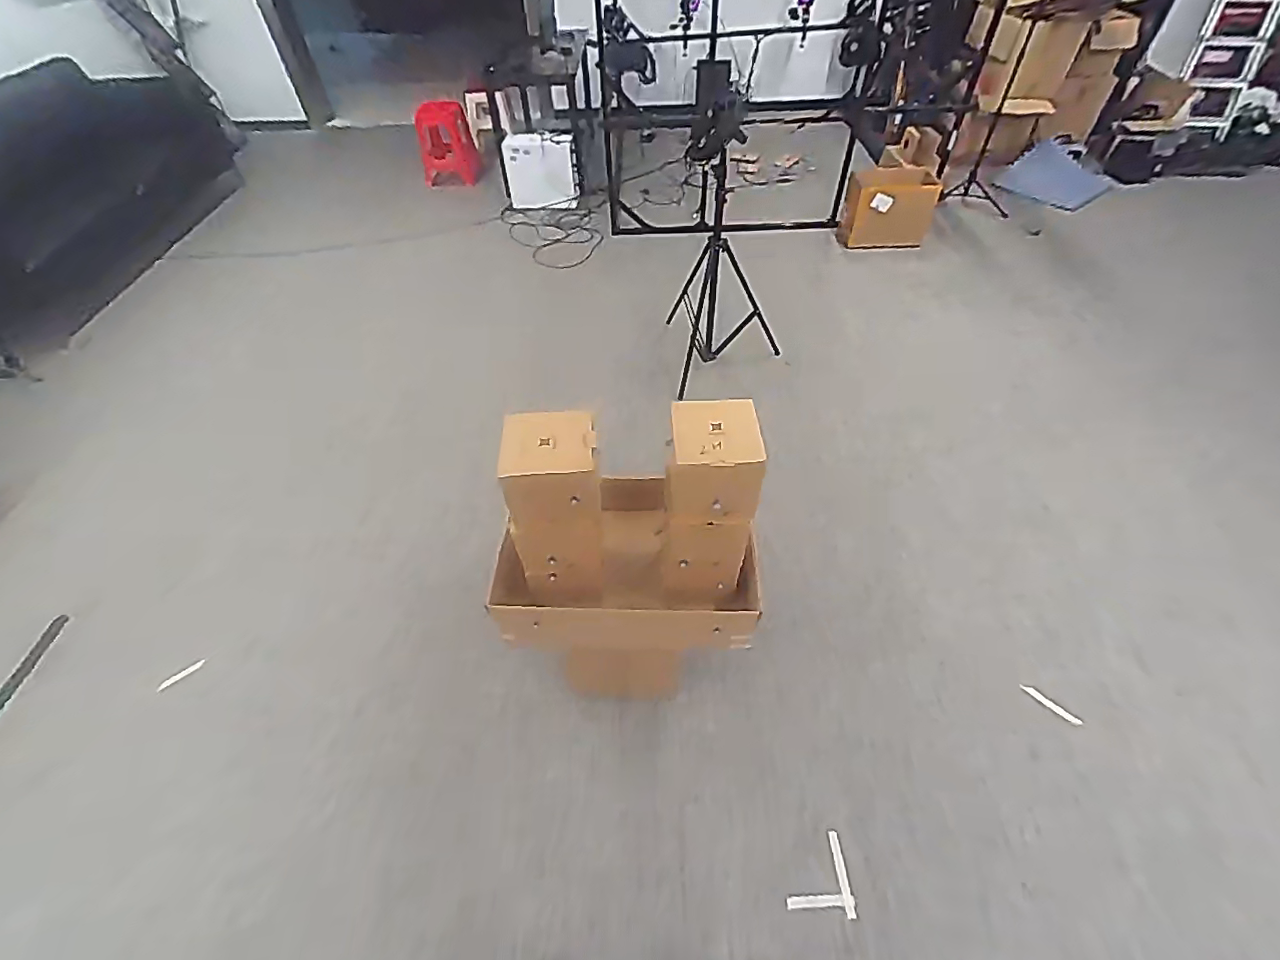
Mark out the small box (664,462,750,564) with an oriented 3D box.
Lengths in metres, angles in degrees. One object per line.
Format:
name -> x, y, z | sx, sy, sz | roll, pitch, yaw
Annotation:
small box -> 0.140, 0.076, 1.191 | 0.168, 0.176, 0.179 | -2, 50, -1

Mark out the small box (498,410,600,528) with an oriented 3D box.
small box -> -0.170, -0.020, 1.071 | 0.179, 0.176, 0.168 | -4, 50, -2

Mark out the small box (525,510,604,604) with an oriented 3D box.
small box -> -0.178, 0.186, 1.326 | 0.168, 0.176, 0.179 | -2, 49, 1

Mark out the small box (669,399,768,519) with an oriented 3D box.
small box -> 0.146, -0.042, 1.075 | 0.168, 0.176, 0.179 | -2, 50, 0

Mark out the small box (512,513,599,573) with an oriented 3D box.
small box -> -0.180, 0.085, 1.198 | 0.168, 0.176, 0.179 | -5, 51, -2
